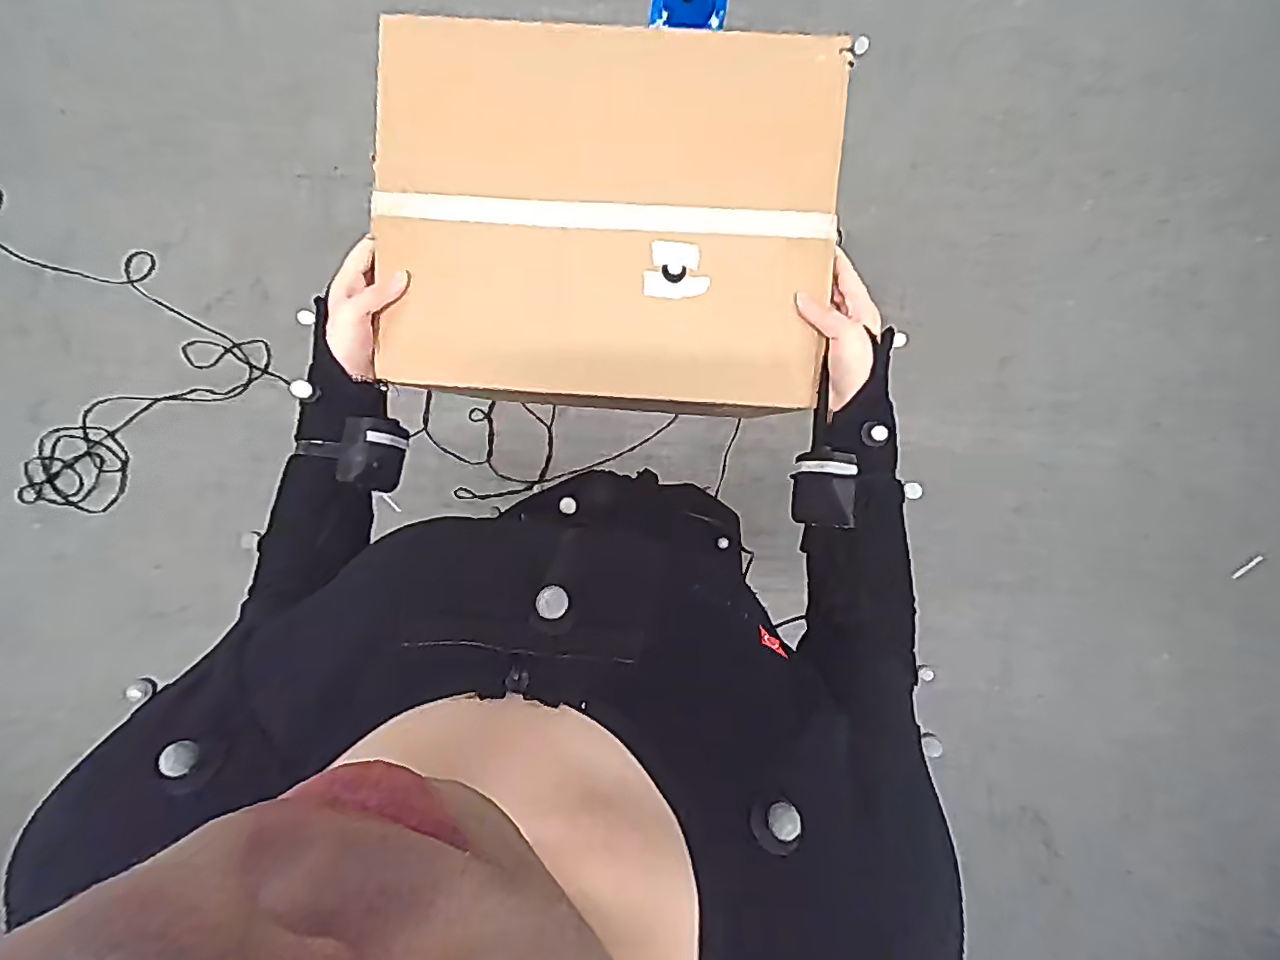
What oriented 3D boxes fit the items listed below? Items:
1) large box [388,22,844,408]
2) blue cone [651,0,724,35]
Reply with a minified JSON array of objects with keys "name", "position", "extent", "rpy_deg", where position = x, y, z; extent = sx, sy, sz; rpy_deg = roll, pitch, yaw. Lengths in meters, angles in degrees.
[{"name":"large box","position":[-0.027,-0.252,0.631],"extent":[0.408,0.320,0.320],"rpy_deg":[3,96,0]},{"name":"blue cone","position":[0.130,-1.306,1.306],"extent":[0.193,0.380,0.192],"rpy_deg":[11,91,0]}]
